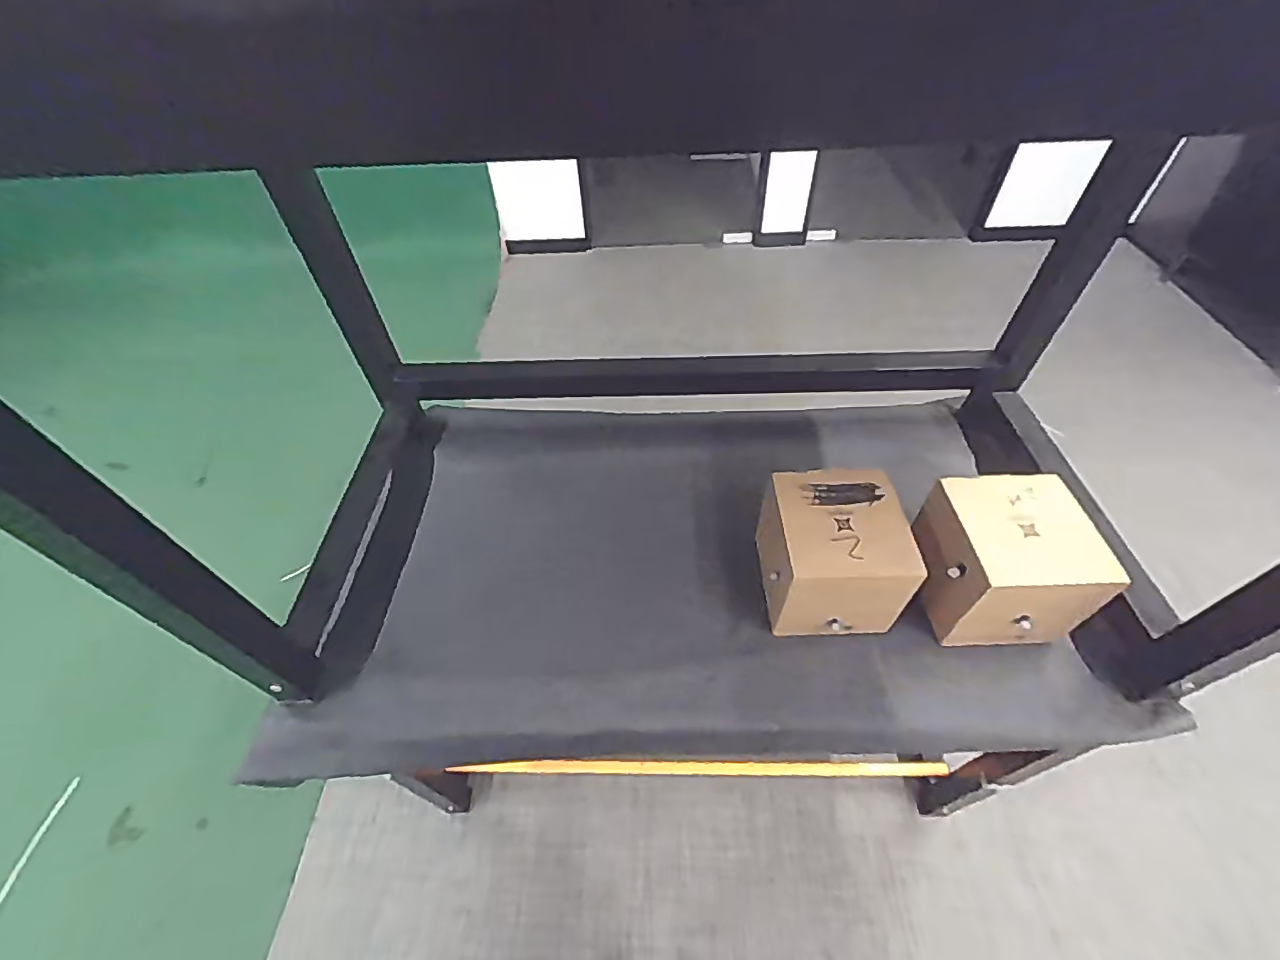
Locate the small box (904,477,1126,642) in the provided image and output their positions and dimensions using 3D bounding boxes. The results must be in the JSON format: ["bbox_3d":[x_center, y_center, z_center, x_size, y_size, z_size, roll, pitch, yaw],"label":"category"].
[{"bbox_3d":[0.503,0.117,0.760,0.168,0.176,0.179,-2,48,1],"label":"small box"}]
